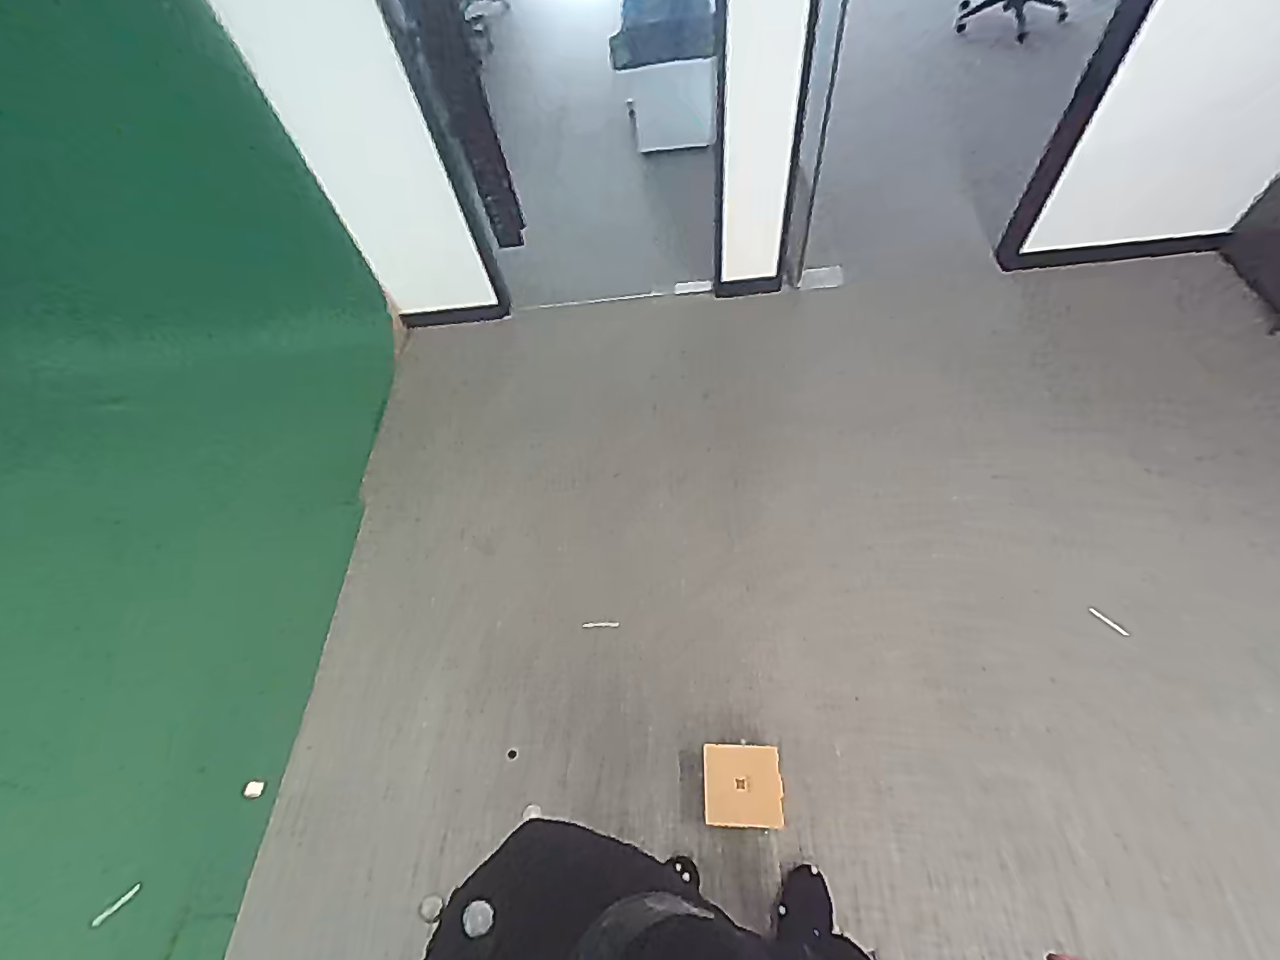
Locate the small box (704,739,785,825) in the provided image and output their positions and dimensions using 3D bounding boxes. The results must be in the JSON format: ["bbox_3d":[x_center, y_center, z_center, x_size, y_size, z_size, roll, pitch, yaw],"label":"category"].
[{"bbox_3d":[0.244,0.724,1.292,0.179,0.176,0.168,-1,58,6],"label":"small box"}]
